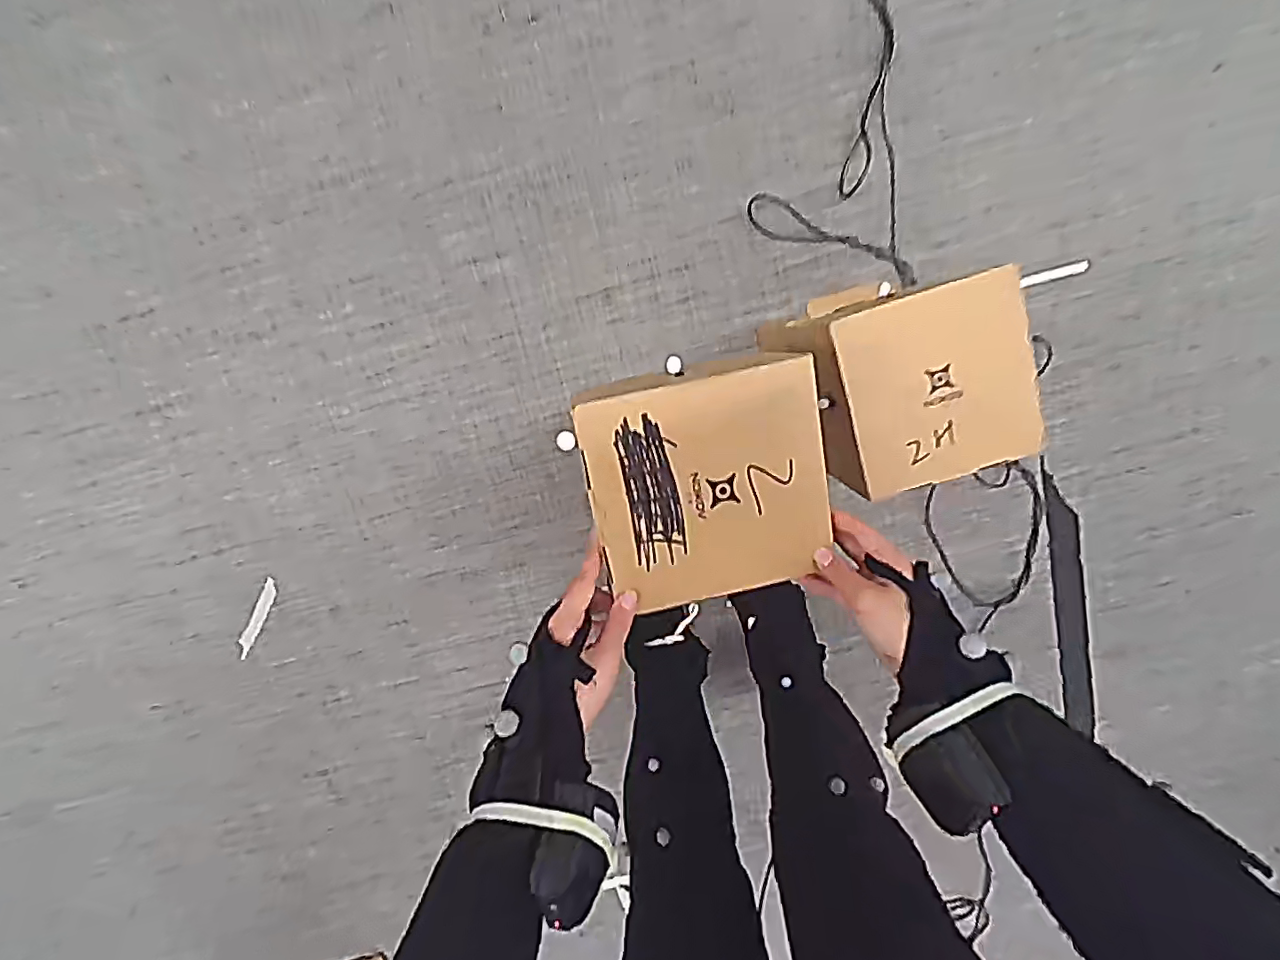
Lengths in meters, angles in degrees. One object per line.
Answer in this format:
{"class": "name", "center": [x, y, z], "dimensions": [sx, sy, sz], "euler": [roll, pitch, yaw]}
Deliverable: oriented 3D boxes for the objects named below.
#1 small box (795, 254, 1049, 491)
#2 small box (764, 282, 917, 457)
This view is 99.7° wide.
{"class": "small box", "center": [0.274, -0.108, 0.560], "dimensions": [0.168, 0.176, 0.179], "euler": [-16, 103, 6]}
{"class": "small box", "center": [0.274, -0.145, 0.721], "dimensions": [0.168, 0.176, 0.179], "euler": [-15, 103, 4]}
